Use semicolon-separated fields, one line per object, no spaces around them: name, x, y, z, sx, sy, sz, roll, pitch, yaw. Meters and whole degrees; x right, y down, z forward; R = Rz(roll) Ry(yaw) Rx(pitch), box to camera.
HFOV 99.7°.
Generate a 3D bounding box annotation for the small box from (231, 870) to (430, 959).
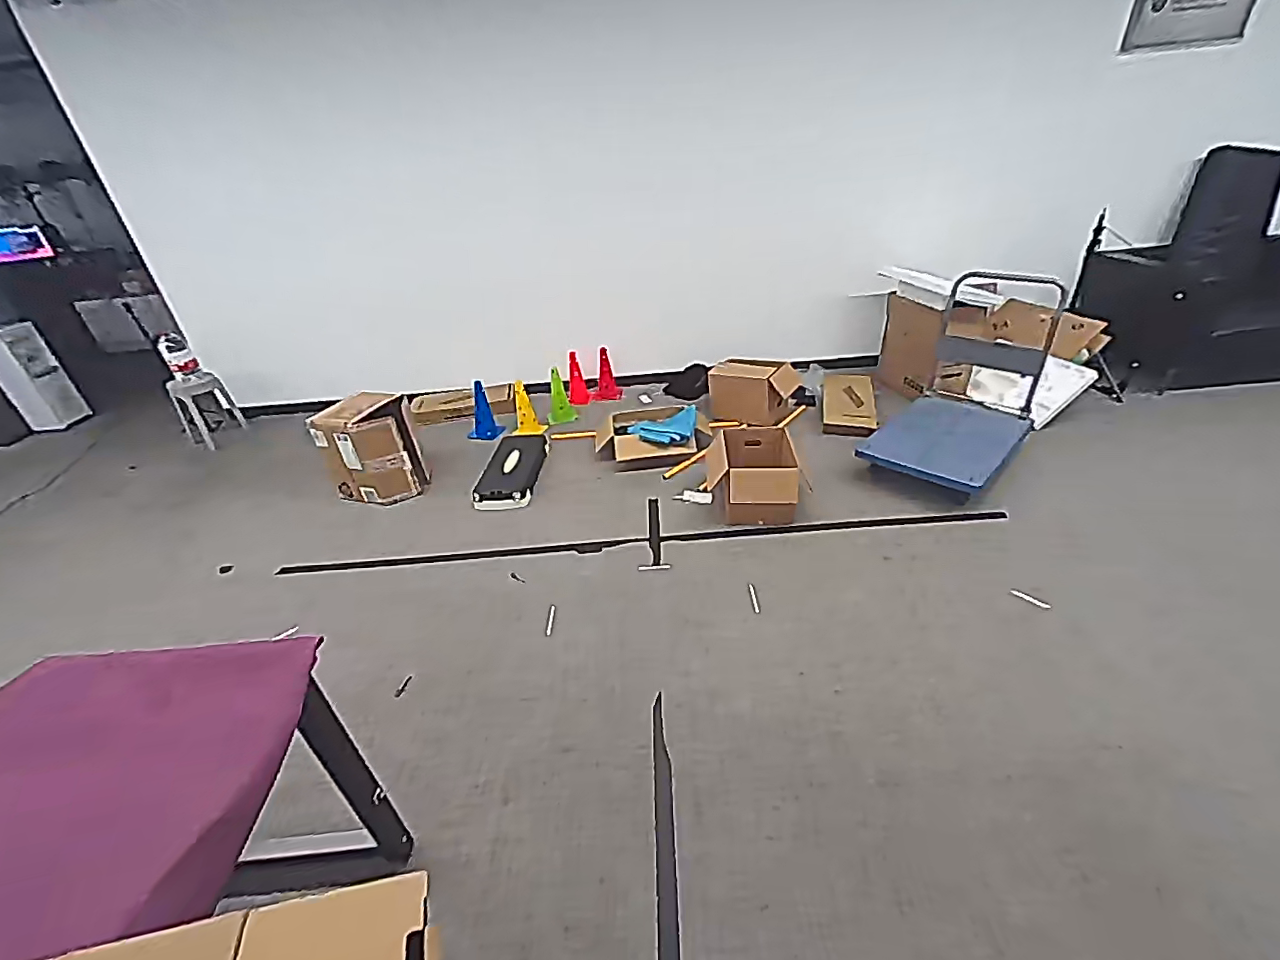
small box;-0.308;0.544;0.542;0.179;0.176;0.168;2;26;-21
